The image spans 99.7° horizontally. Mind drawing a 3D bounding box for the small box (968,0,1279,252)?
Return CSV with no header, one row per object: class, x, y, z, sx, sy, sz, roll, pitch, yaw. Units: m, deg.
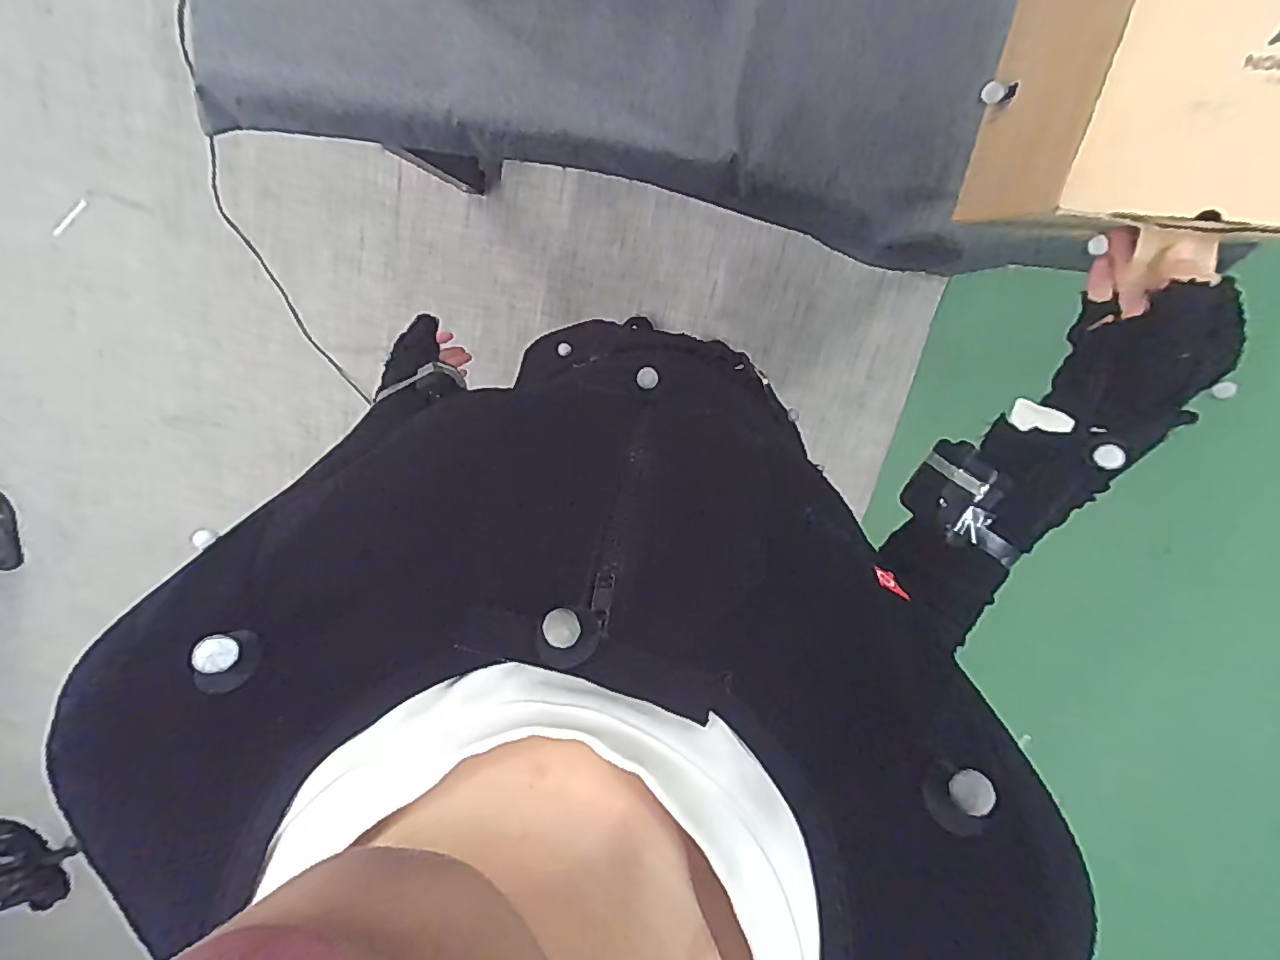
small box,0.347,-0.253,0.351,0.168,0.176,0.179,9,115,5
